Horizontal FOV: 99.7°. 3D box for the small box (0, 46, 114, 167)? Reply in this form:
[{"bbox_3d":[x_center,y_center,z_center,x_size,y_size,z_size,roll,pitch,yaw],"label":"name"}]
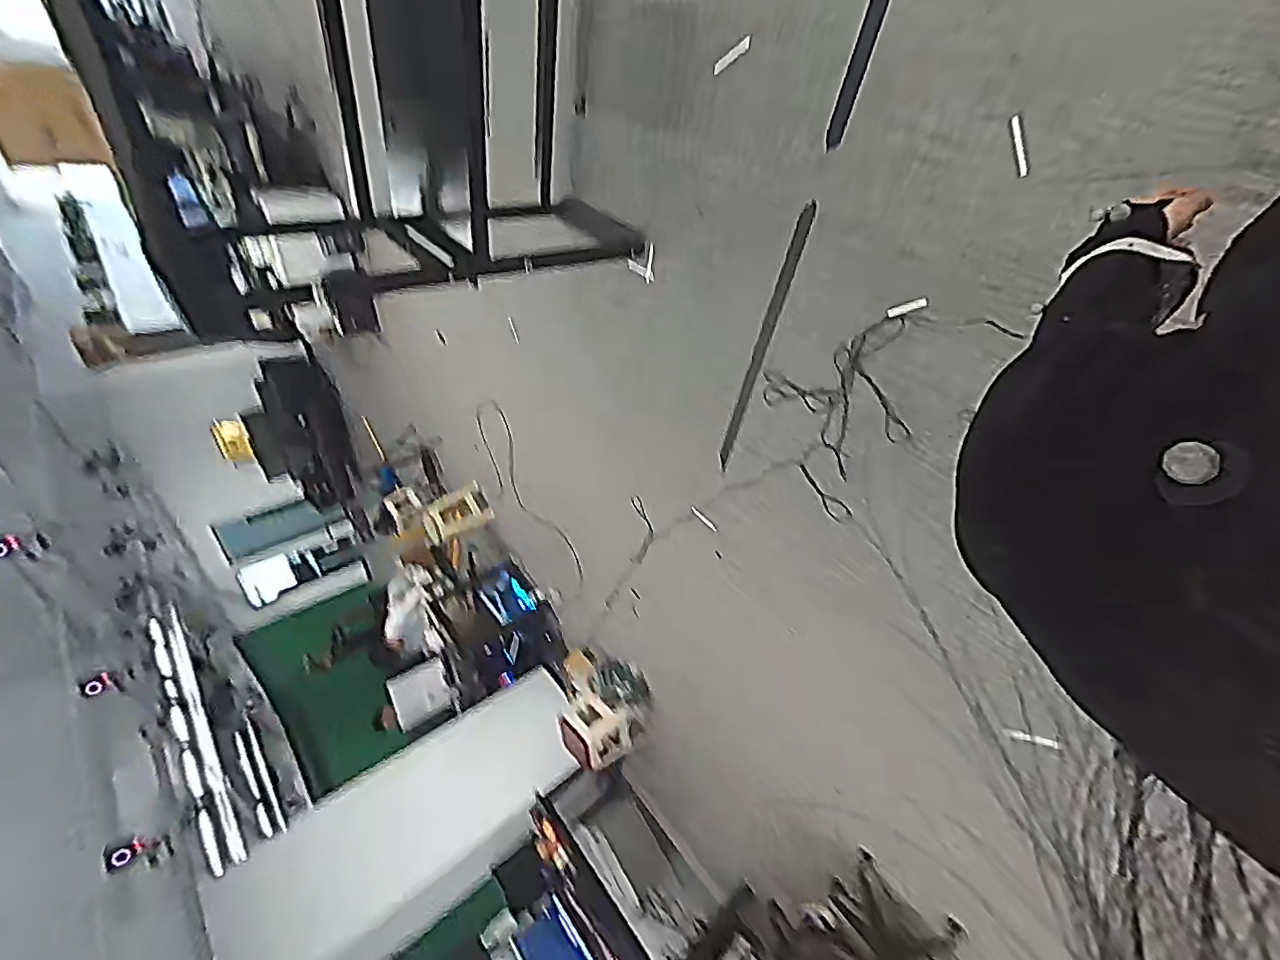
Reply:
[{"bbox_3d":[-1.182,-0.734,1.061,0.179,0.176,0.168,45,140,30],"label":"small box"}]
